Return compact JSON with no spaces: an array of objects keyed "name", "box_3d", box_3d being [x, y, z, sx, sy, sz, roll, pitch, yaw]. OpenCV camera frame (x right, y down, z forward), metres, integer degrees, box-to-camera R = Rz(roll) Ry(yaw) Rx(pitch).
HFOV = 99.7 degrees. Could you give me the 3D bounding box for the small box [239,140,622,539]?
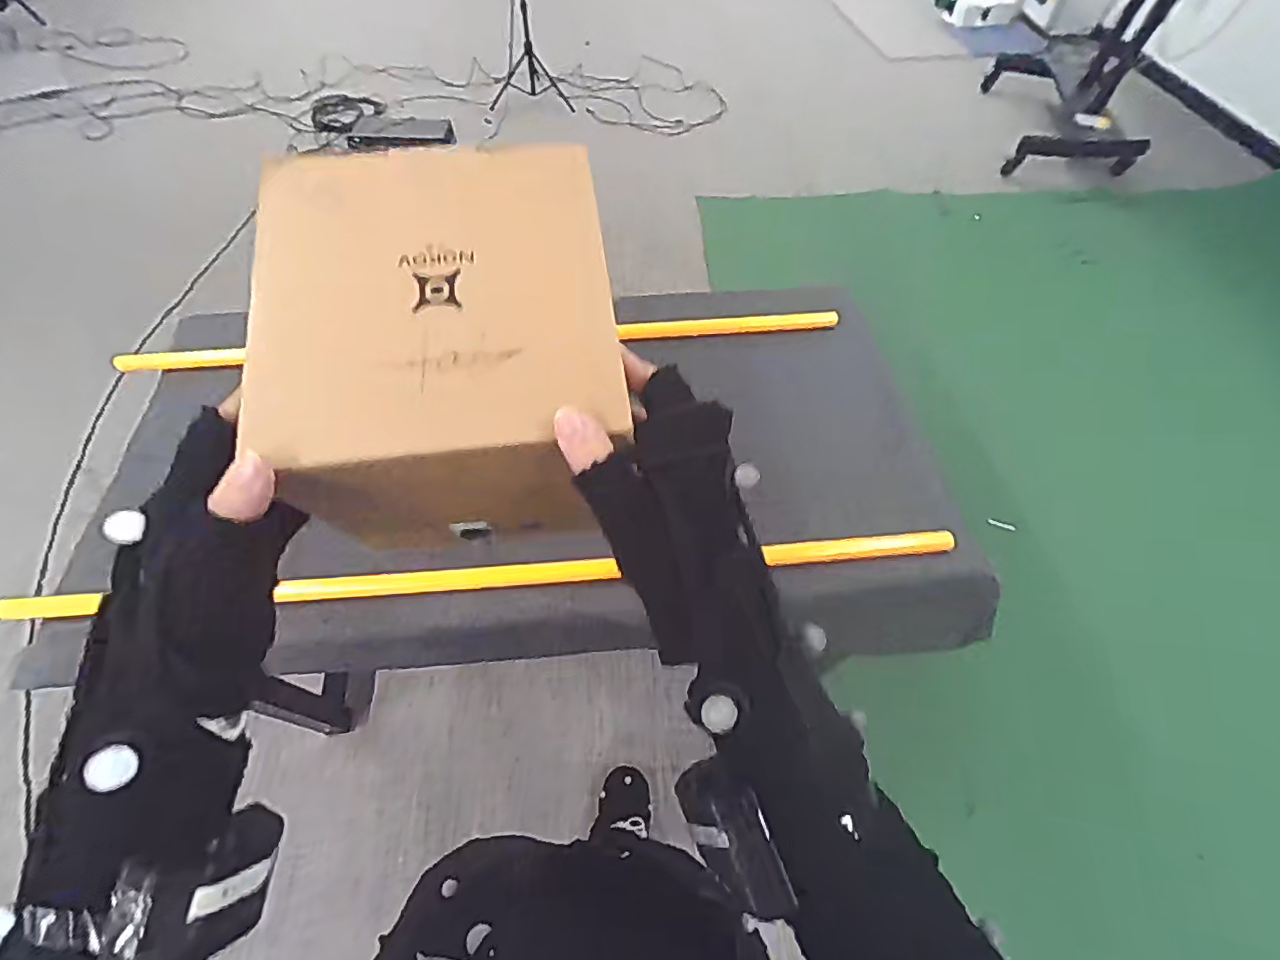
[{"name":"small box","box_3d":[-0.107,-0.074,0.340,0.168,0.176,0.179,-7,71,-7]}]
